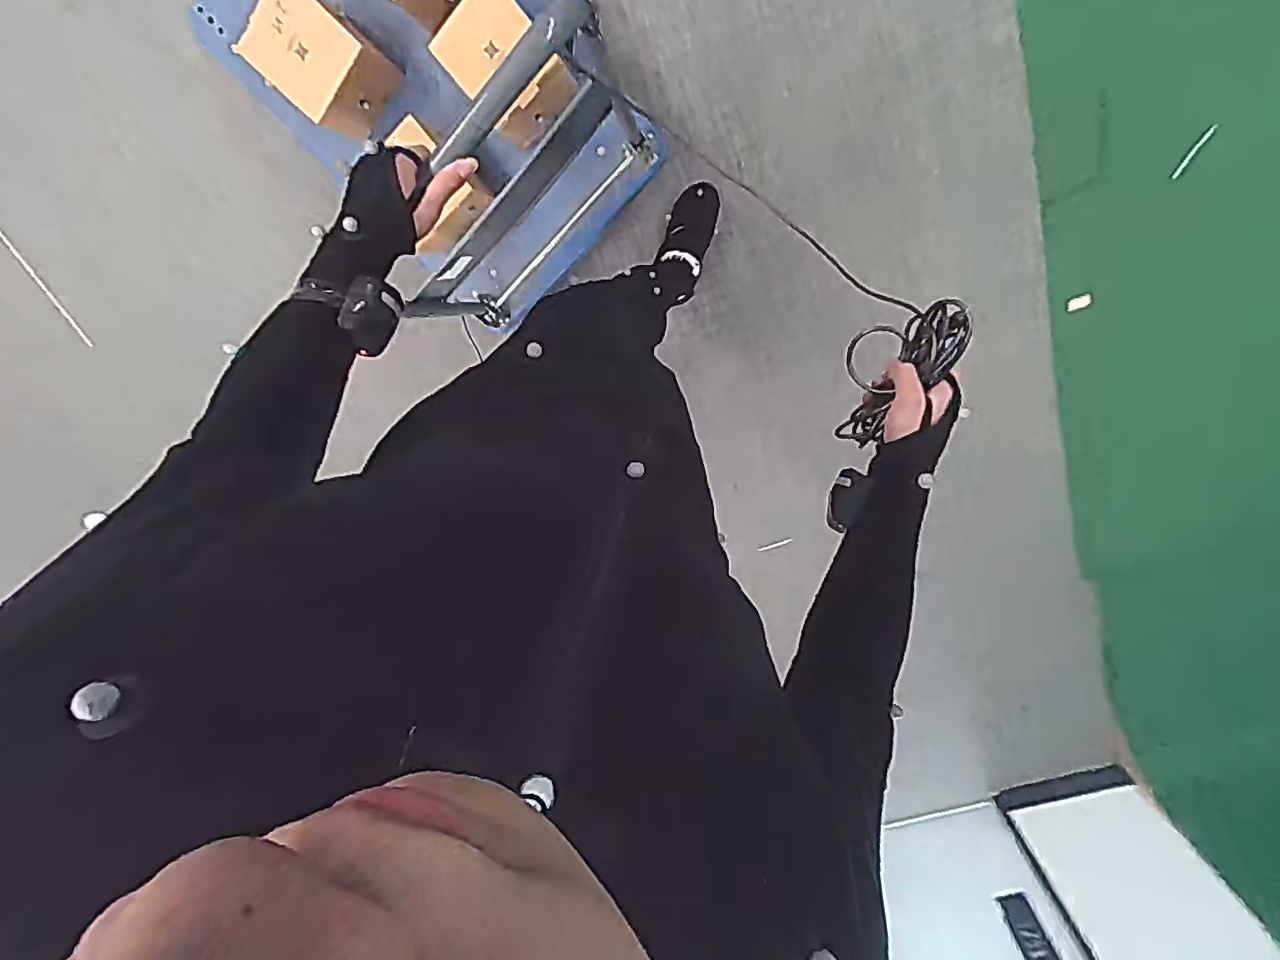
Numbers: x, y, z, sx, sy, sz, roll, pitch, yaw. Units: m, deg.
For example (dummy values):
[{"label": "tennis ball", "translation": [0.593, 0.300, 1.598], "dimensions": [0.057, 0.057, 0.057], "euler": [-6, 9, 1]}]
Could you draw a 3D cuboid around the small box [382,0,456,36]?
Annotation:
[{"label": "small box", "translation": [-0.431, -0.953, 0.959], "dimensions": [0.179, 0.176, 0.168], "euler": [43, 109, -14]}]

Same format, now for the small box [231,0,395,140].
[{"label": "small box", "translation": [-0.613, -0.789, 1.036], "dimensions": [0.179, 0.176, 0.168], "euler": [42, 108, -12]}]

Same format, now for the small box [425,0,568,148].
[{"label": "small box", "translation": [-0.260, -0.770, 1.023], "dimensions": [0.168, 0.176, 0.179], "euler": [-39, 105, 17]}]
